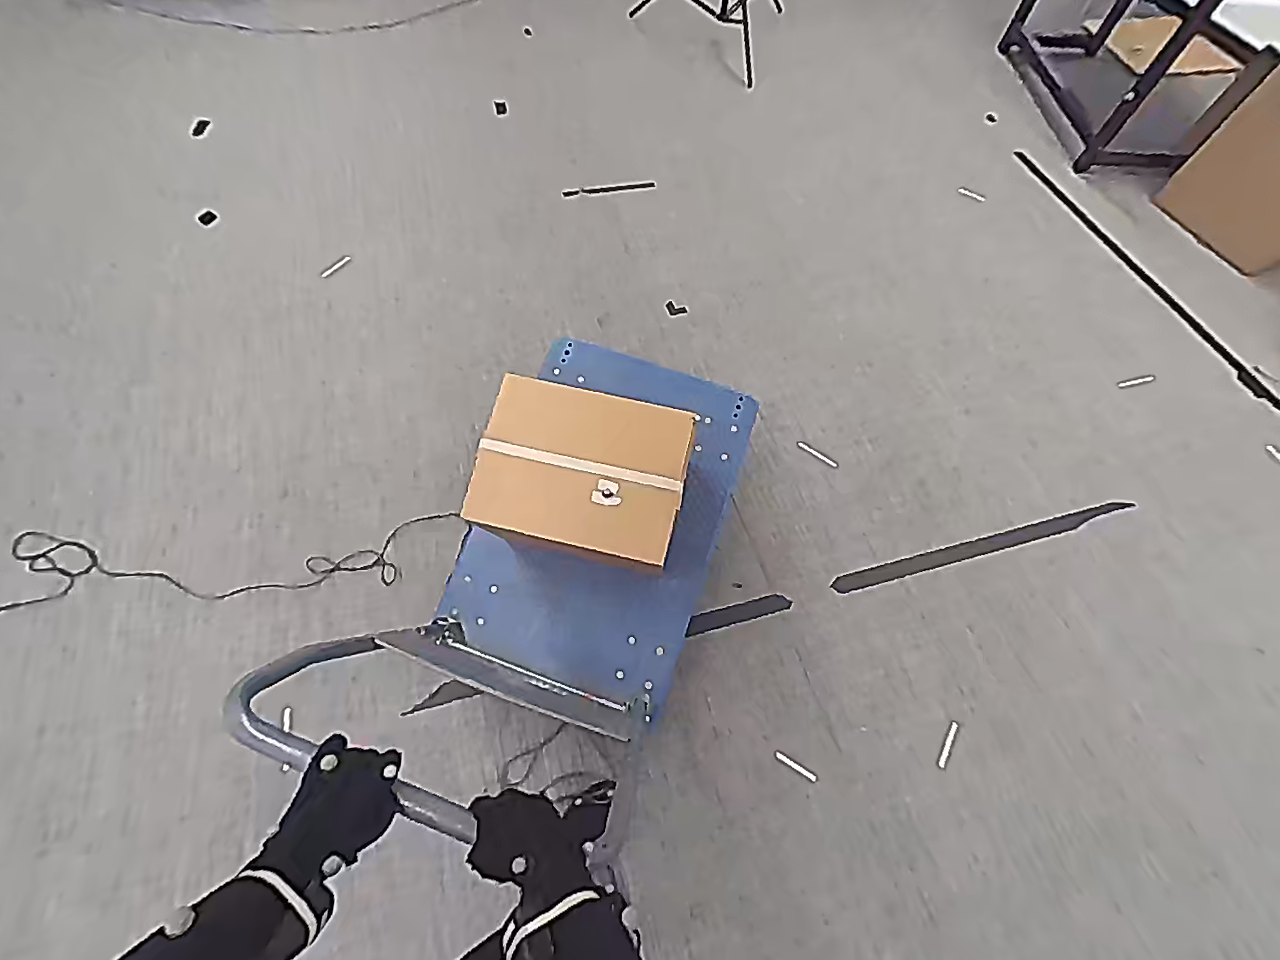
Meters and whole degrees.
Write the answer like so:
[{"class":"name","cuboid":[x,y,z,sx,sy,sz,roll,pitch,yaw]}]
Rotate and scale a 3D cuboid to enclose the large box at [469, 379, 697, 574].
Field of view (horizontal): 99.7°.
[{"class":"large box","cuboid":[-0.110,0.009,1.213,0.408,0.320,0.320,12,77,4]}]
